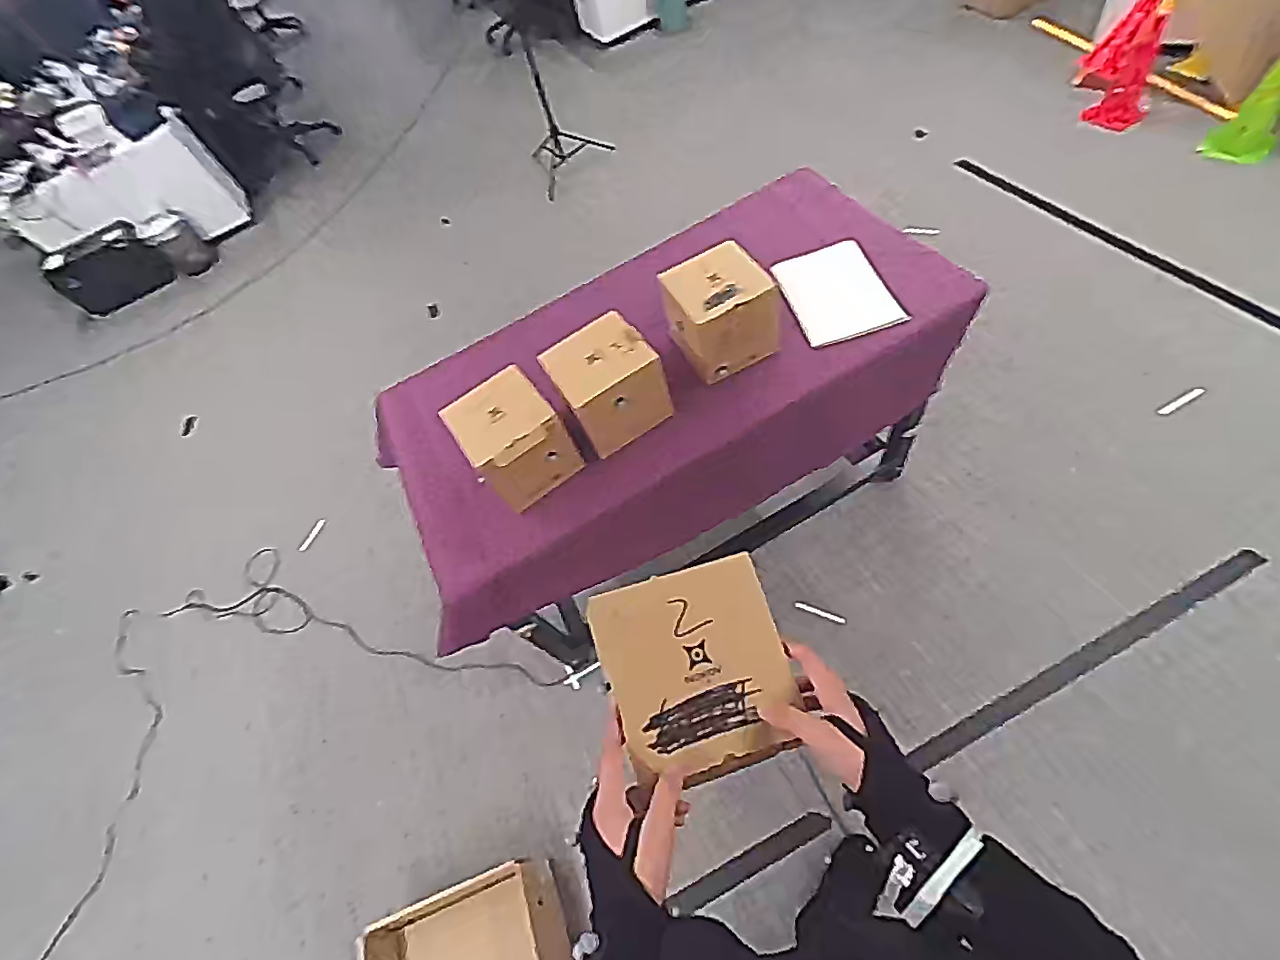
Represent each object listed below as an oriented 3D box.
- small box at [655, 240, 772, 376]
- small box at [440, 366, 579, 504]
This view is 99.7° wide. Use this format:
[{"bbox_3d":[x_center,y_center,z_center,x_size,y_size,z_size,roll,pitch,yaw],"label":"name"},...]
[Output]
[{"bbox_3d":[0.153,-0.333,1.080,0.168,0.176,0.179,-27,56,-2],"label":"small box"},{"bbox_3d":[-0.241,-0.075,1.031,0.168,0.176,0.179,-36,57,-9],"label":"small box"}]
